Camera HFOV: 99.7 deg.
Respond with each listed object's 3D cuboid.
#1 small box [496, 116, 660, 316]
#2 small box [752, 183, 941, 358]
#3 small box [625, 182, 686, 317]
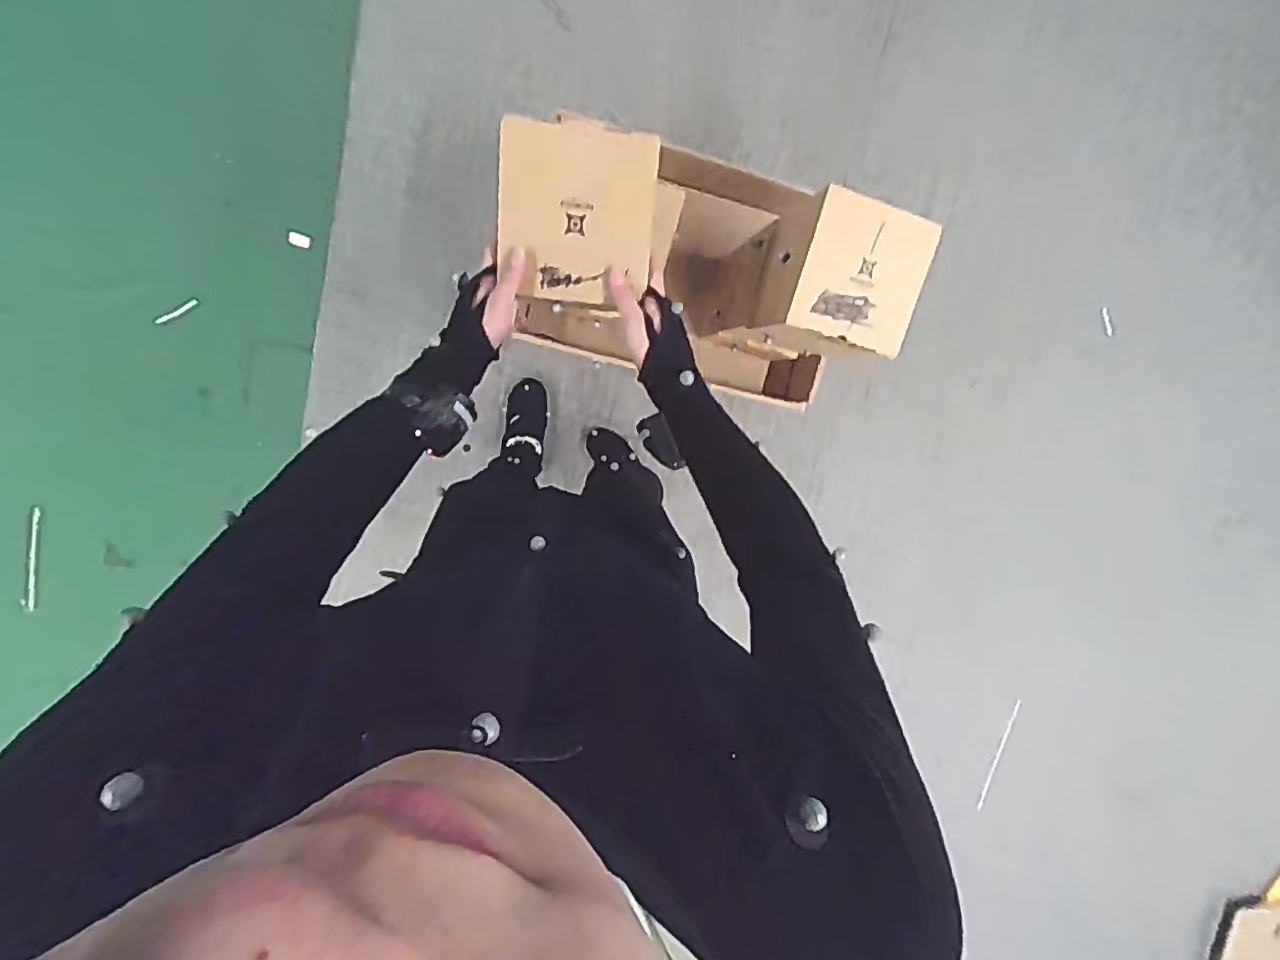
[{"bbox_3d":[-0.075,-0.298,0.651,0.168,0.176,0.179,4,105,-6],"label":"small box"},{"bbox_3d":[0.275,-0.279,0.768,0.168,0.176,0.179,15,99,-10],"label":"small box"},{"bbox_3d":[-0.041,-0.381,0.881,0.168,0.176,0.179,16,99,-8],"label":"small box"}]
